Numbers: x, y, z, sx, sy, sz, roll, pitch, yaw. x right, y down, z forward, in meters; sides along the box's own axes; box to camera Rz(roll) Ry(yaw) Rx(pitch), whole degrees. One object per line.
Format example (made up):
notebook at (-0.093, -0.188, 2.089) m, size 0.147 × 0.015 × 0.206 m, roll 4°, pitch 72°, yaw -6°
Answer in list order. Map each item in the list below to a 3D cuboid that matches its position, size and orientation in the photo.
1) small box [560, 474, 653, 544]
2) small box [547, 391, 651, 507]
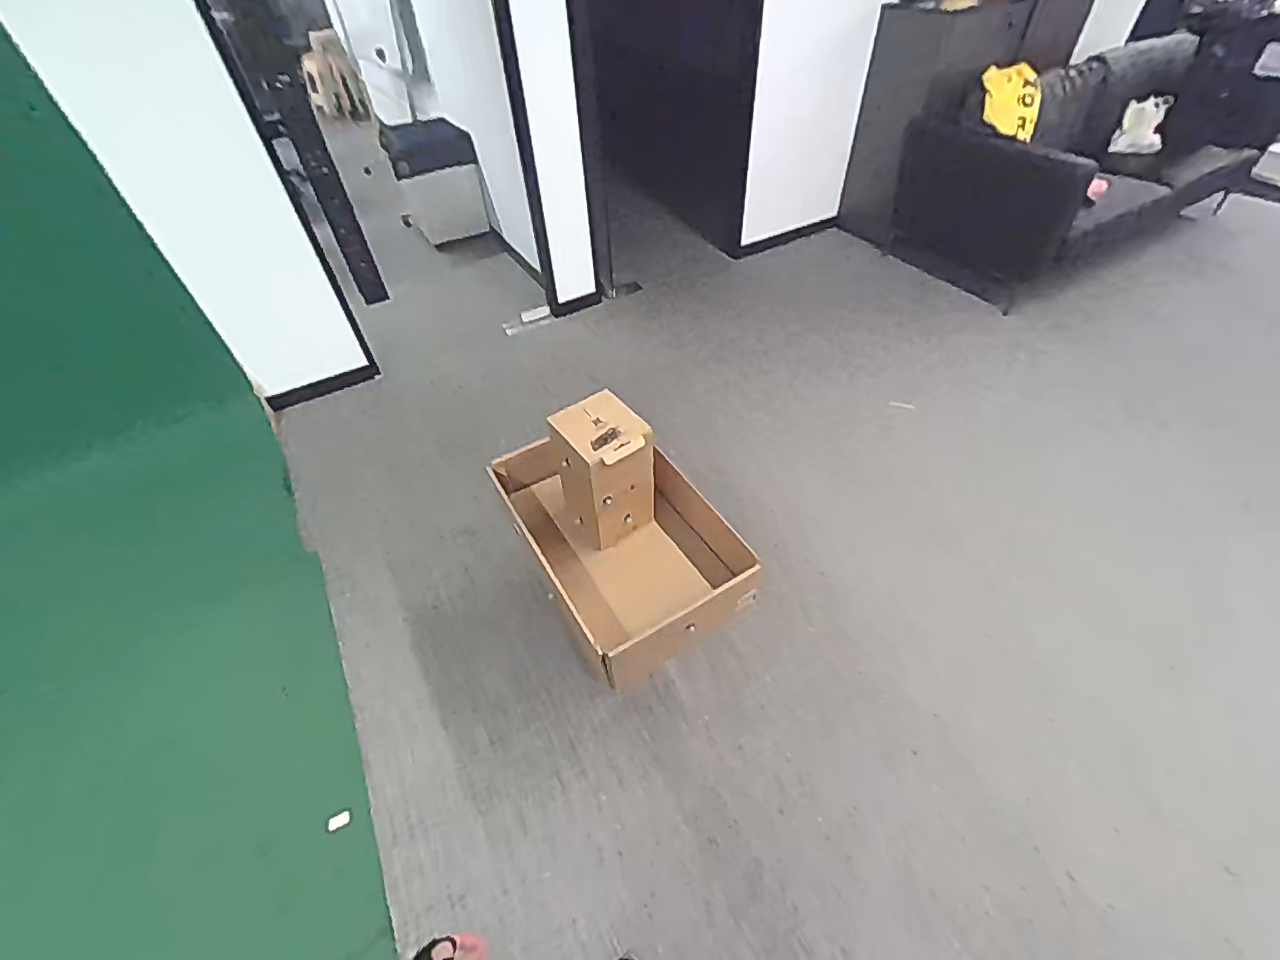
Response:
small box at (-0.083, 0.037, 1.352) m, size 0.168 × 0.176 × 0.179 m, roll -28°, pitch 56°, yaw -22°
small box at (-0.087, -0.063, 1.222) m, size 0.168 × 0.176 × 0.179 m, roll -30°, pitch 54°, yaw -23°
